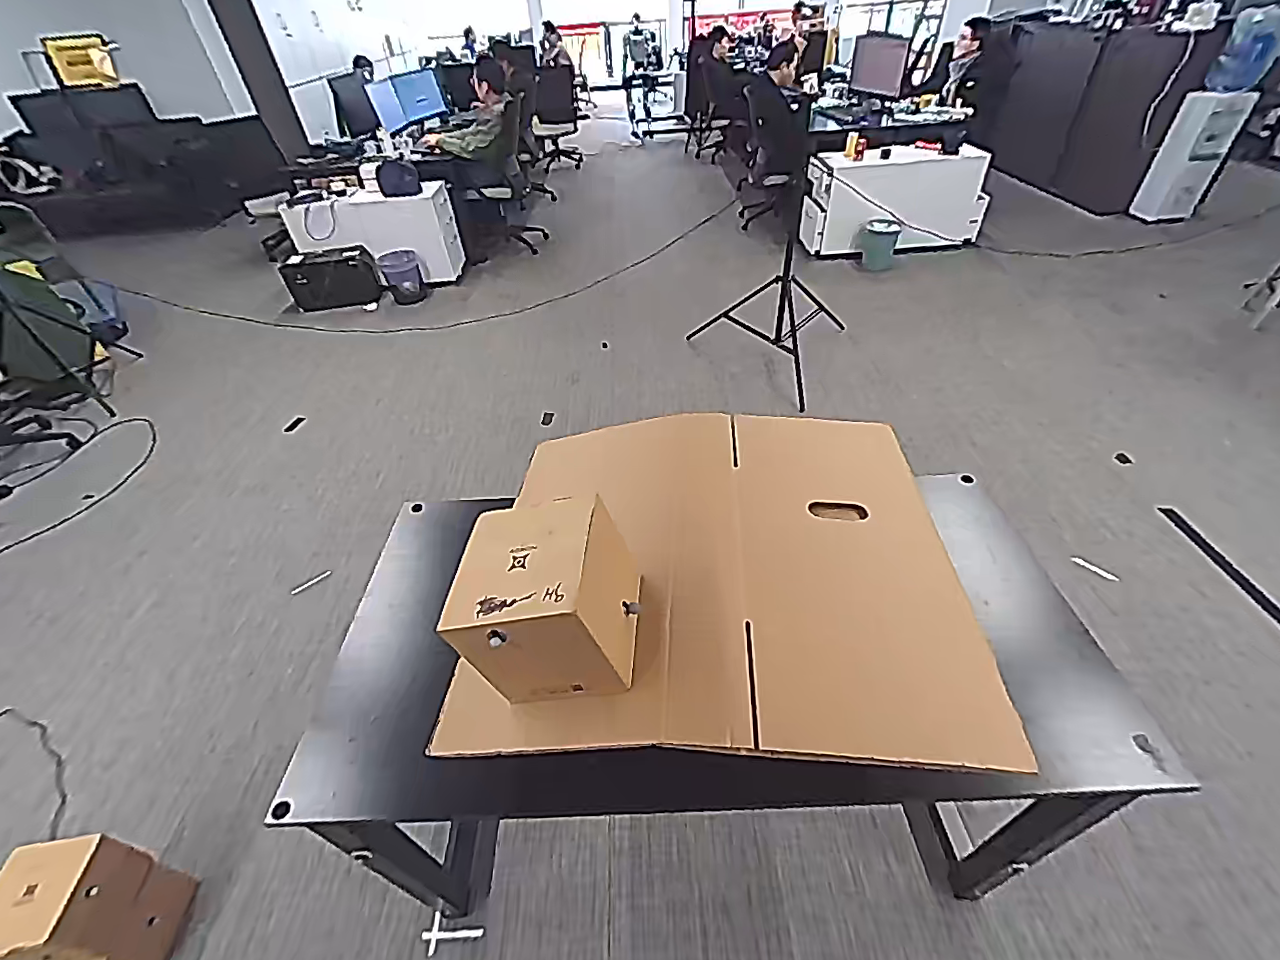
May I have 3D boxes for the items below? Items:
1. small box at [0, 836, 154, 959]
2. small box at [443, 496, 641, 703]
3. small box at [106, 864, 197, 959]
[{"bbox_3d":[-1.132,0.842,1.071,0.168,0.176,0.179,-7,40,-4],"label":"small box"},{"bbox_3d":[-0.104,0.149,0.670,0.168,0.176,0.179,-12,39,16],"label":"small box"},{"bbox_3d":[-1.120,0.967,1.174,0.168,0.176,0.179,-6,42,-1],"label":"small box"}]
